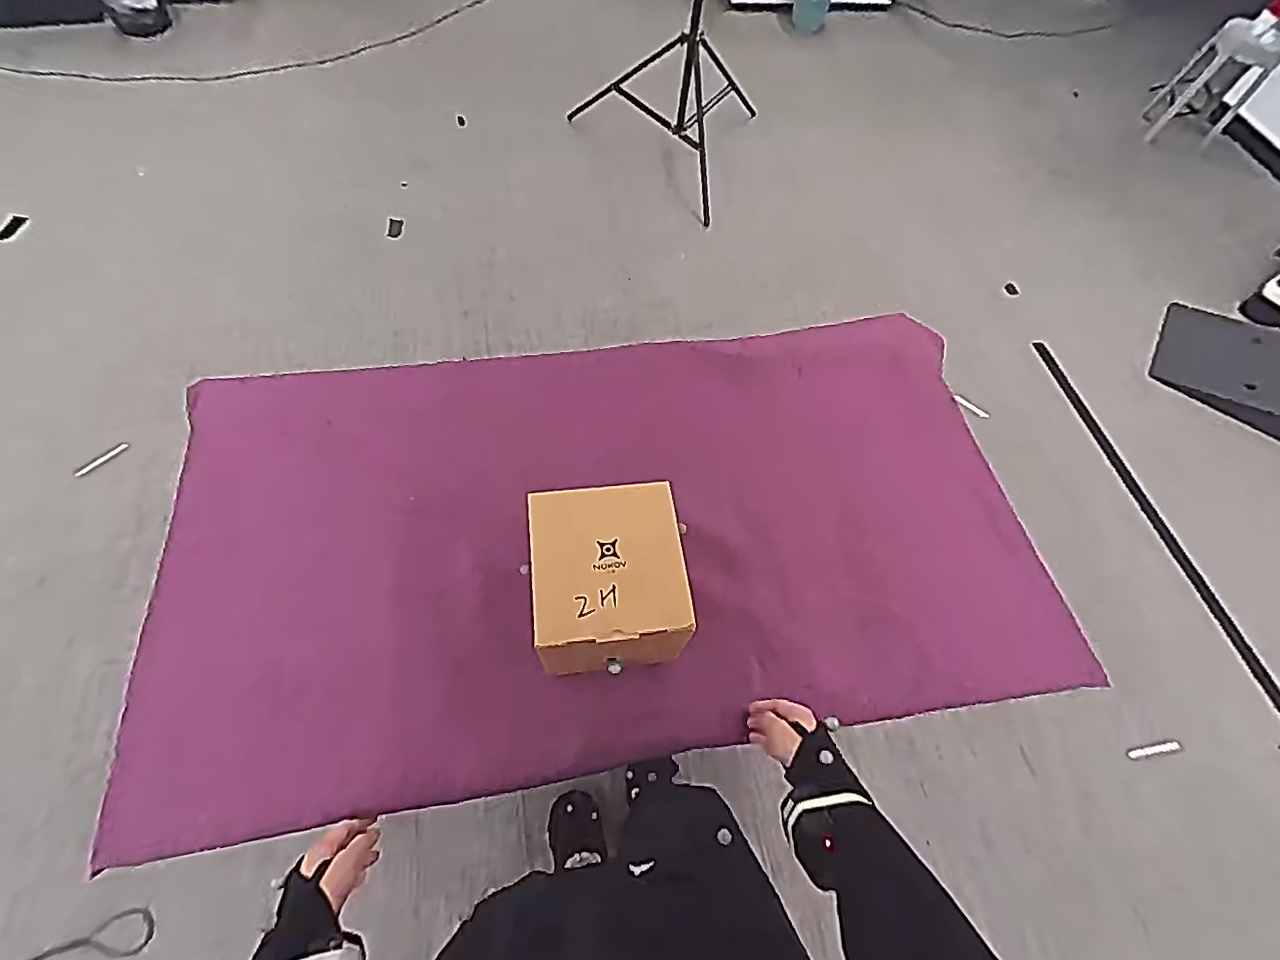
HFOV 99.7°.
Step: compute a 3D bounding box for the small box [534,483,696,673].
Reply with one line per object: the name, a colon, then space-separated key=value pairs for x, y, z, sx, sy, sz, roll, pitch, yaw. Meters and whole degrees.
small box: x=-0.039 y=0.123 z=0.659 sx=0.168 sy=0.176 sz=0.179 roll=-5 pitch=62 yaw=-7
